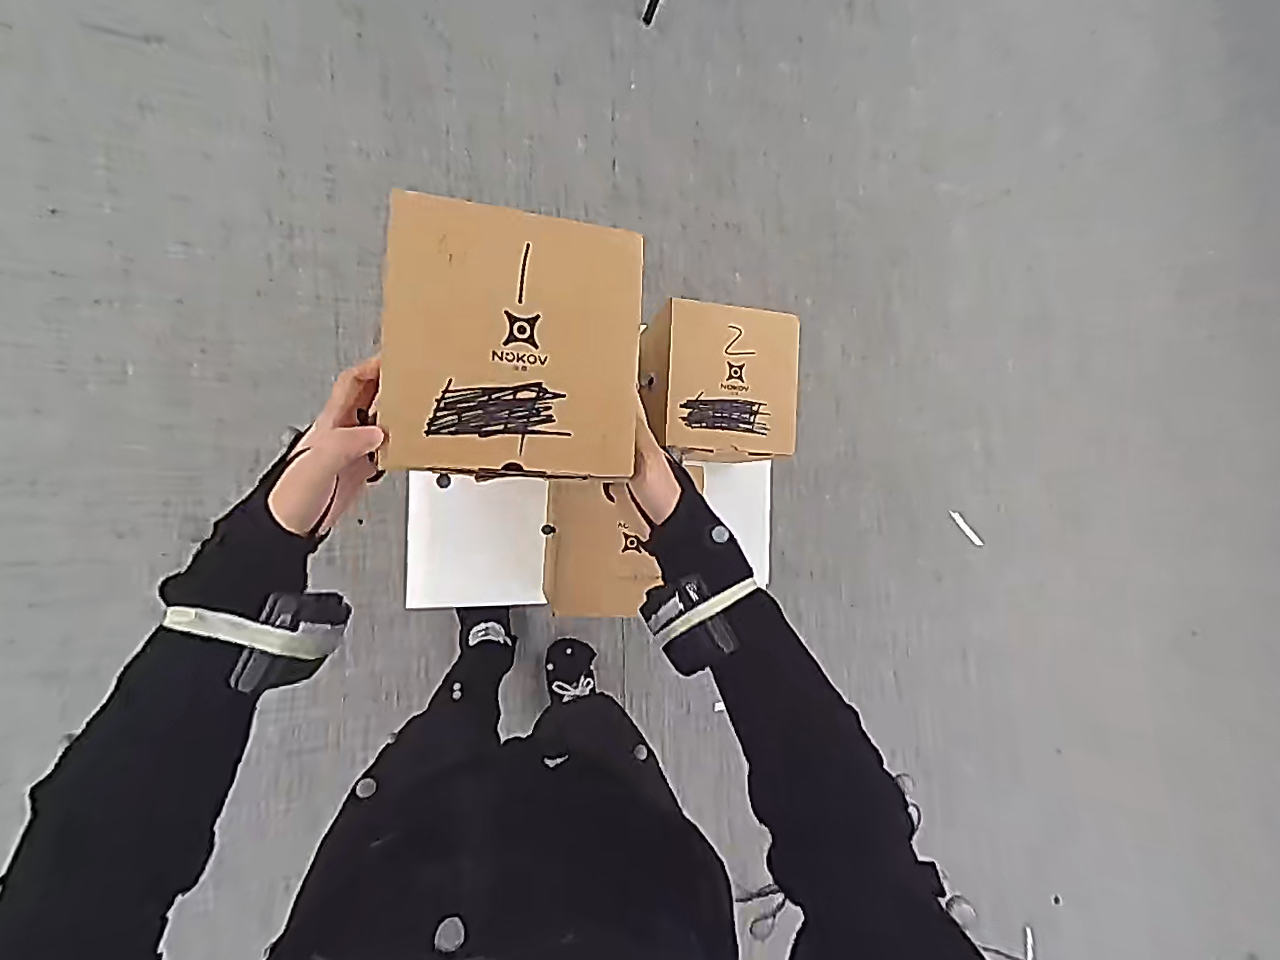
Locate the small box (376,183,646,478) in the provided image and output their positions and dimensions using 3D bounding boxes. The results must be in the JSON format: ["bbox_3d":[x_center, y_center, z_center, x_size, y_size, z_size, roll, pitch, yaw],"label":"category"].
[{"bbox_3d":[-0.101,-0.094,0.433,0.168,0.176,0.179,4,89,-16],"label":"small box"}]
